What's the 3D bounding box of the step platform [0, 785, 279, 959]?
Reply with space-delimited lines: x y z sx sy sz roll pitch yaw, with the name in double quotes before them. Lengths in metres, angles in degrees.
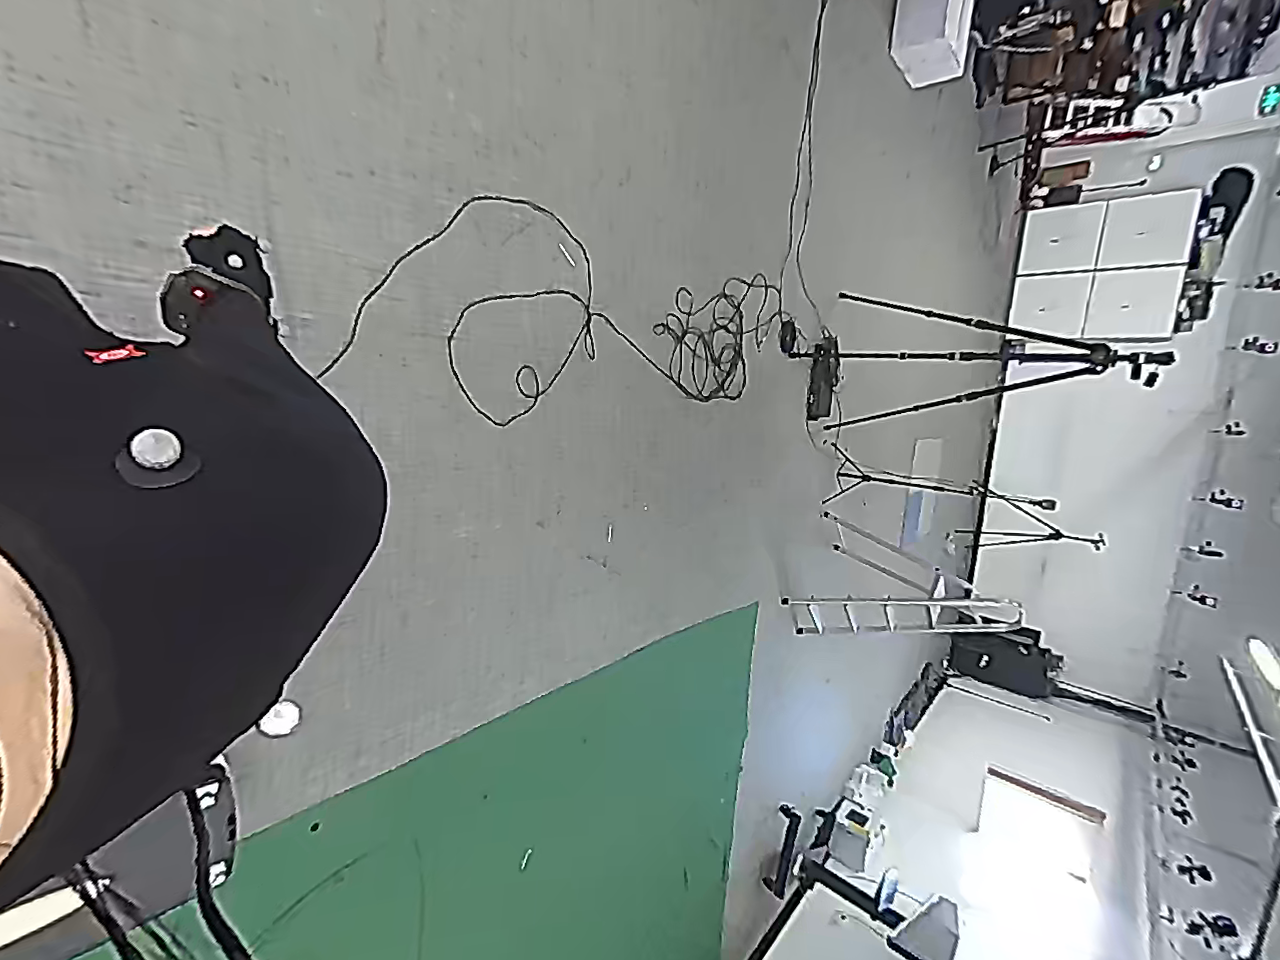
"step platform" -1.032 0.826 0.908 0.684 0.204 0.286 -8 104 -50
